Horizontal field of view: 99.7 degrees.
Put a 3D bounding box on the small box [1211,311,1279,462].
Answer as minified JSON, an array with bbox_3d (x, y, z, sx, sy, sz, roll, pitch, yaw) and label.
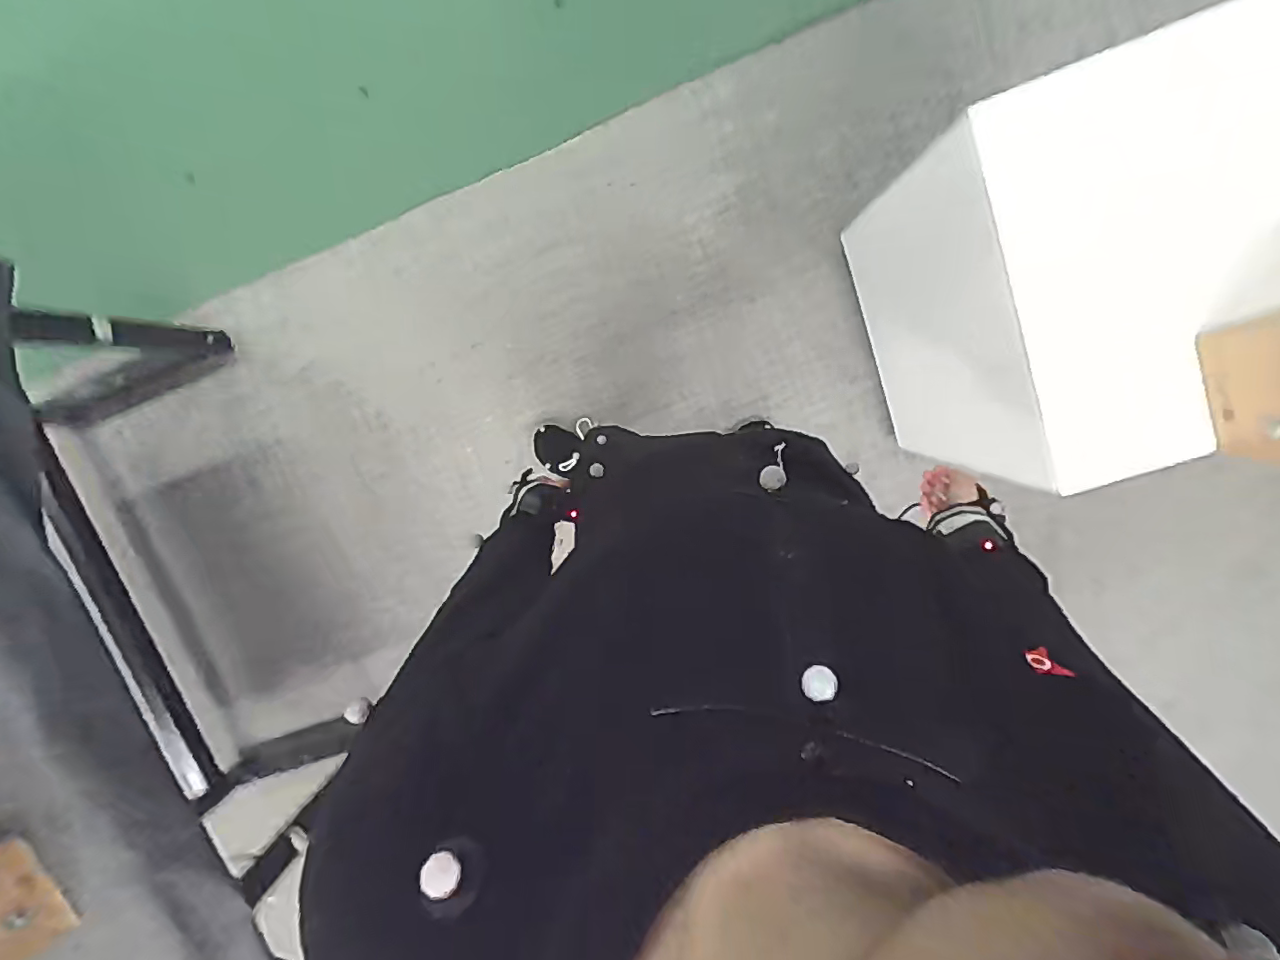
[{"bbox_3d":[0.799,-0.115,0.598,0.179,0.176,0.168,-19,98,7],"label":"small box"}]

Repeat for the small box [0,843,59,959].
[{"bbox_3d":[-0.971,0.641,0.727,0.179,0.176,0.168,-24,96,8],"label":"small box"}]
